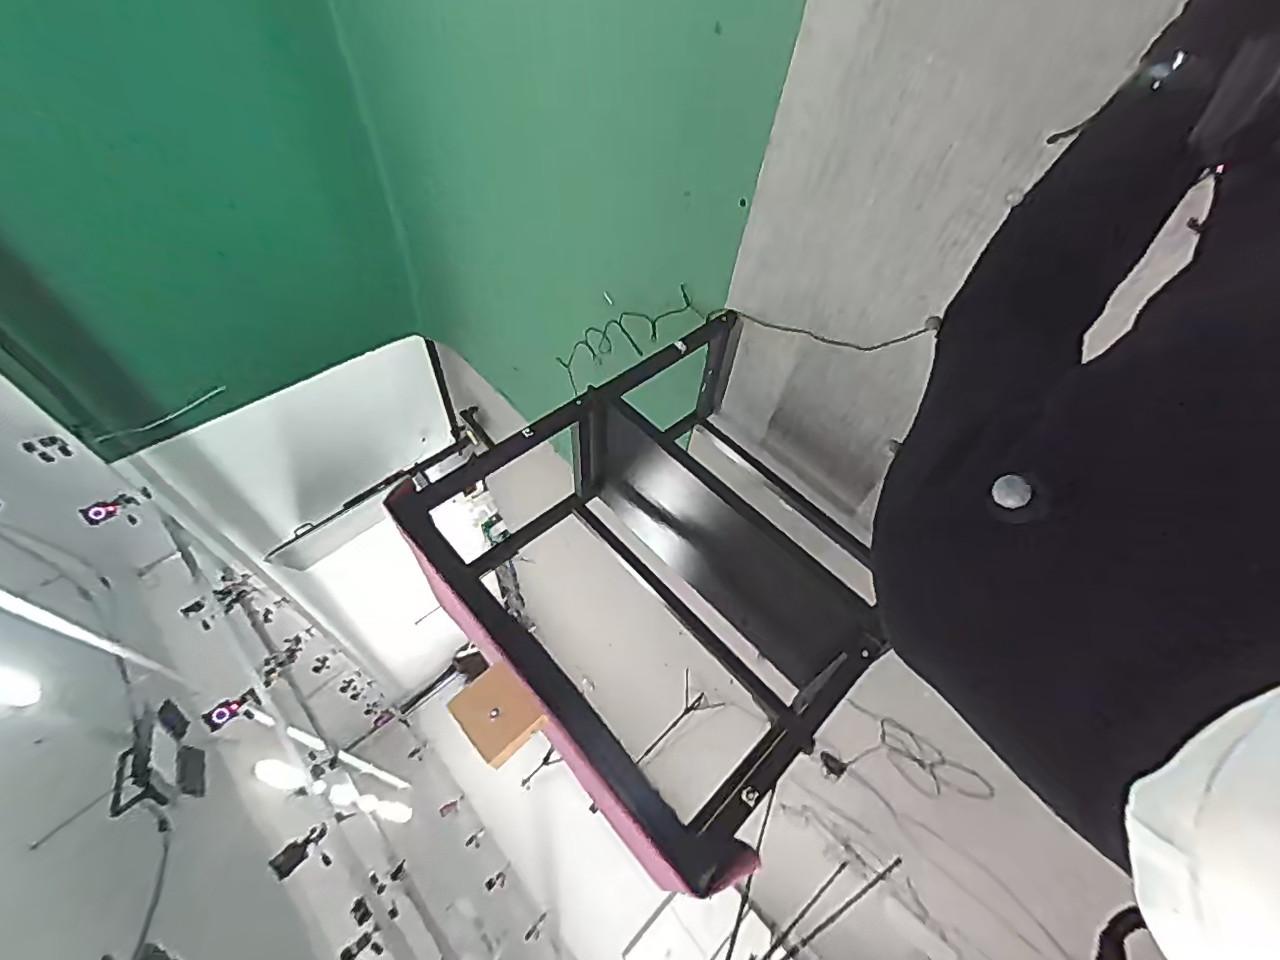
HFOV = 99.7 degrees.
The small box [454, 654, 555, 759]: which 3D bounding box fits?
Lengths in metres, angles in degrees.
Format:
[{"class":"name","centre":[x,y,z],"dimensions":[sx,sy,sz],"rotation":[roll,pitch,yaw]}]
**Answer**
[{"class":"small box","centre":[-0.333,0.557,1.350],"dimensions":[0.179,0.176,0.168],"rotation":[44,153,18]}]
